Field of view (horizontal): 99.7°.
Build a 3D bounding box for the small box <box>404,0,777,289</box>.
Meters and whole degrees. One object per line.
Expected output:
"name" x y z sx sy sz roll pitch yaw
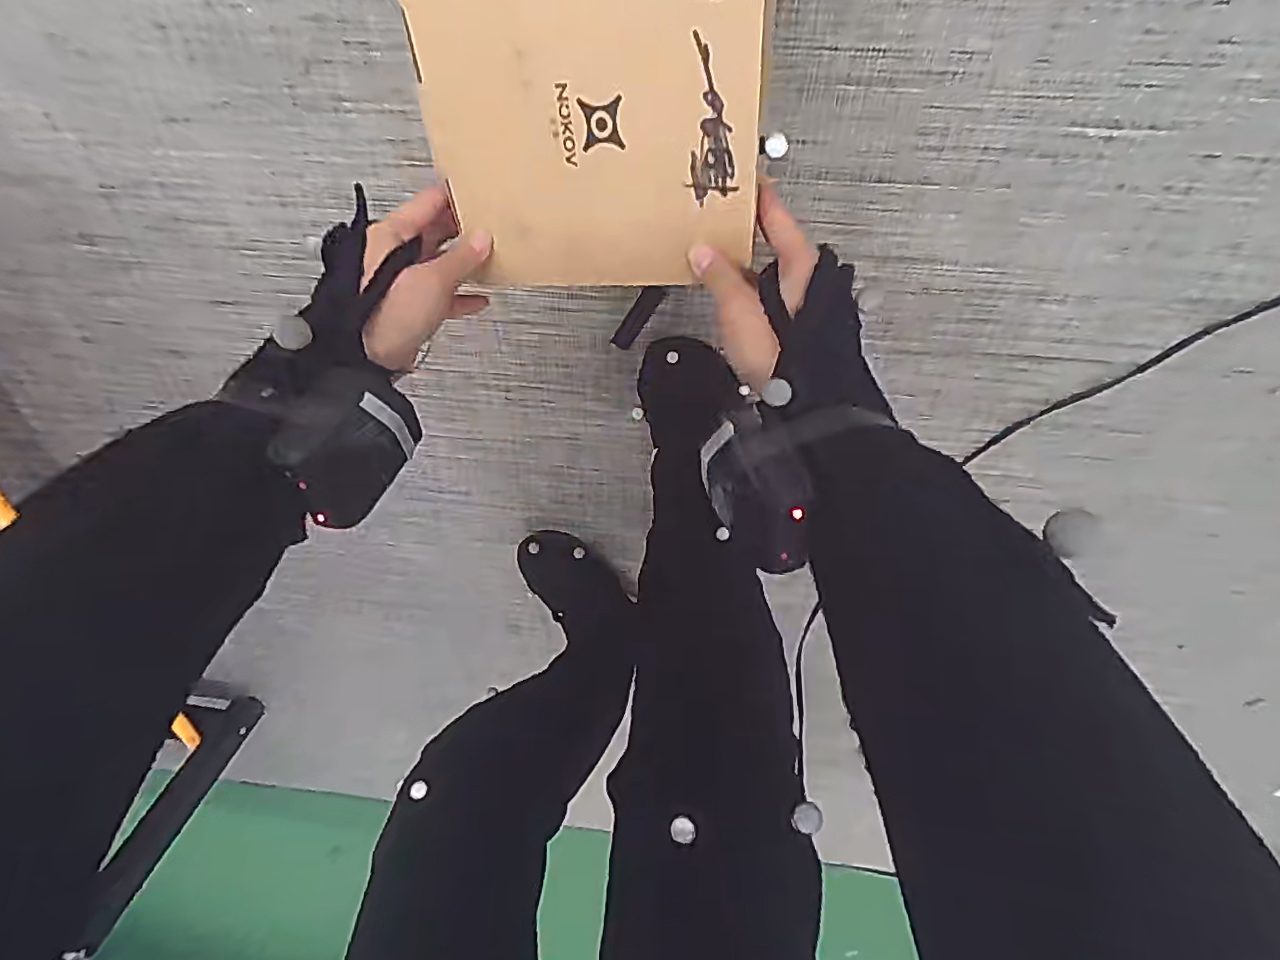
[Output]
"small box" -0.011 -0.232 0.344 0.179 0.176 0.168 4 129 13
